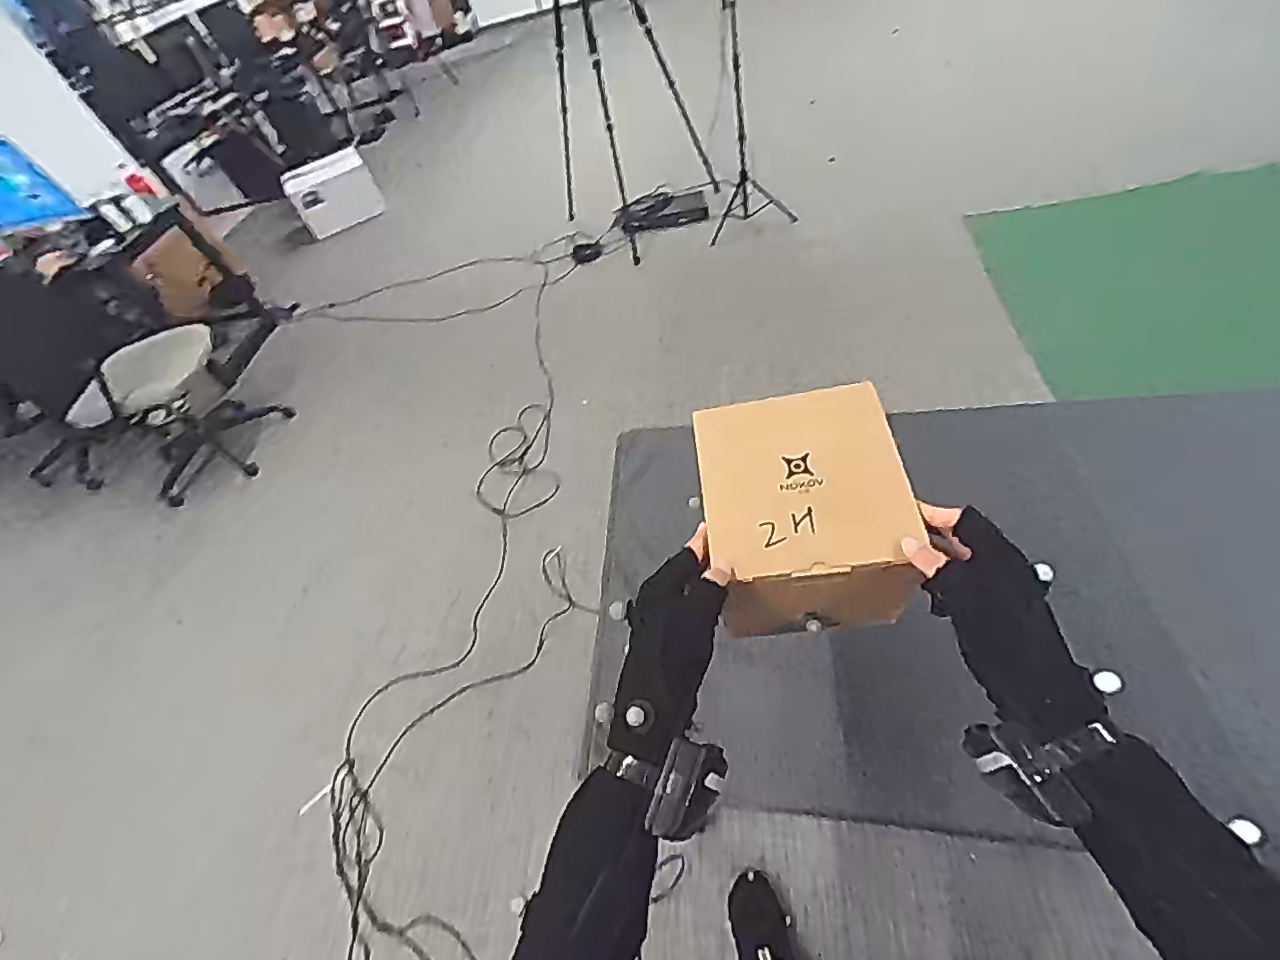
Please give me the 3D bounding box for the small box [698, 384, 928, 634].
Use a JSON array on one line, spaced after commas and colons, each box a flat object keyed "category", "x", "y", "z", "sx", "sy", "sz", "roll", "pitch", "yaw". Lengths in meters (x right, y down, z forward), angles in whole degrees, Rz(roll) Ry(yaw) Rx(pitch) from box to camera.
[{"category": "small box", "x": 0.151, "y": 0.036, "z": 0.527, "sx": 0.168, "sy": 0.176, "sz": 0.179, "roll": -8, "pitch": 58, "yaw": 10}]
